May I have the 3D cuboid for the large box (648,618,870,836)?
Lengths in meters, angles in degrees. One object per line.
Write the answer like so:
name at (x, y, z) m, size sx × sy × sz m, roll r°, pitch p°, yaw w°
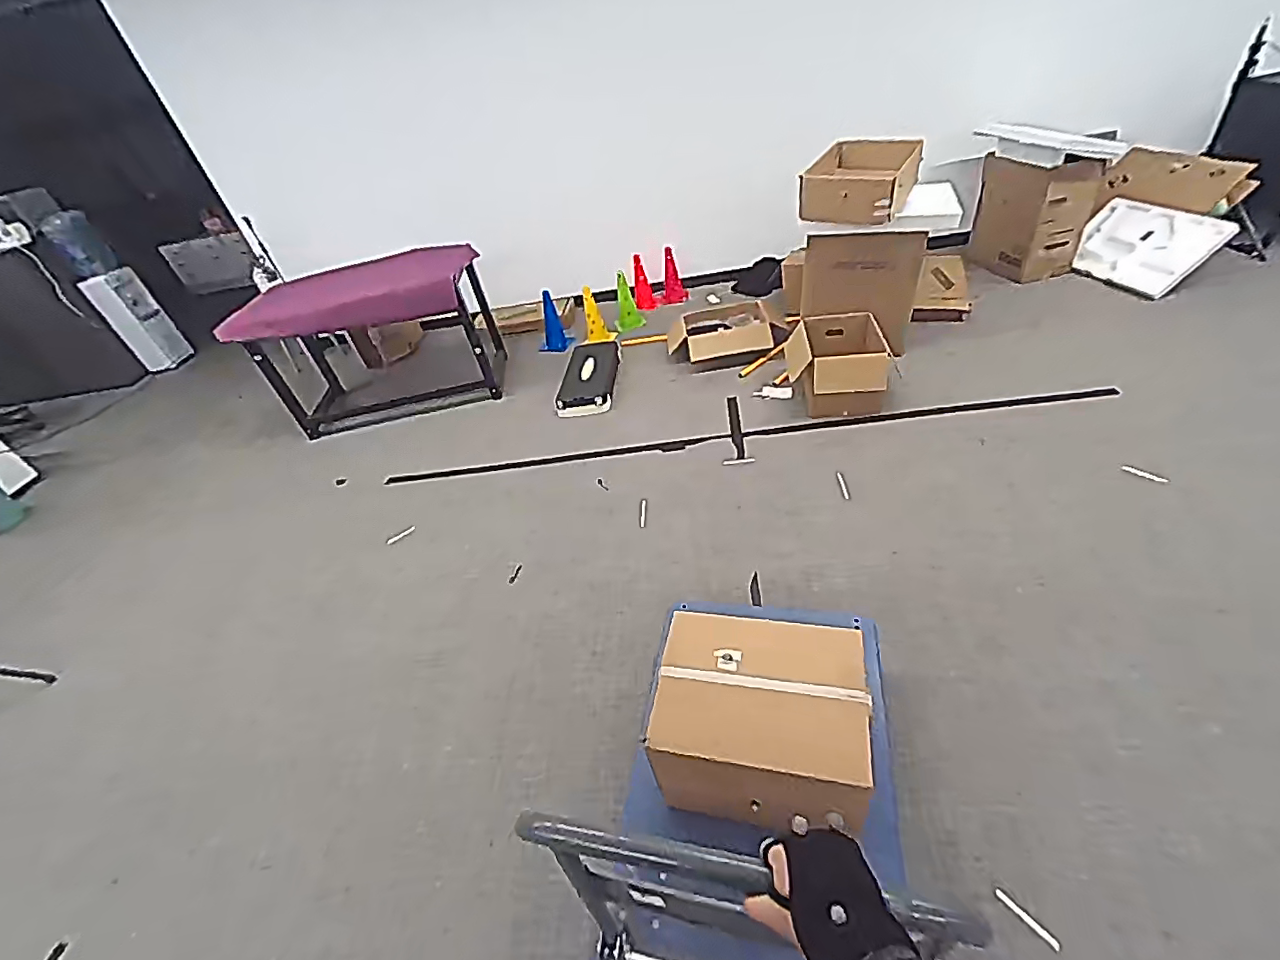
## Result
large box at (0.265, 0.530, 1.183) m, size 0.408 × 0.320 × 0.320 m, roll 0°, pitch 40°, yaw 17°
